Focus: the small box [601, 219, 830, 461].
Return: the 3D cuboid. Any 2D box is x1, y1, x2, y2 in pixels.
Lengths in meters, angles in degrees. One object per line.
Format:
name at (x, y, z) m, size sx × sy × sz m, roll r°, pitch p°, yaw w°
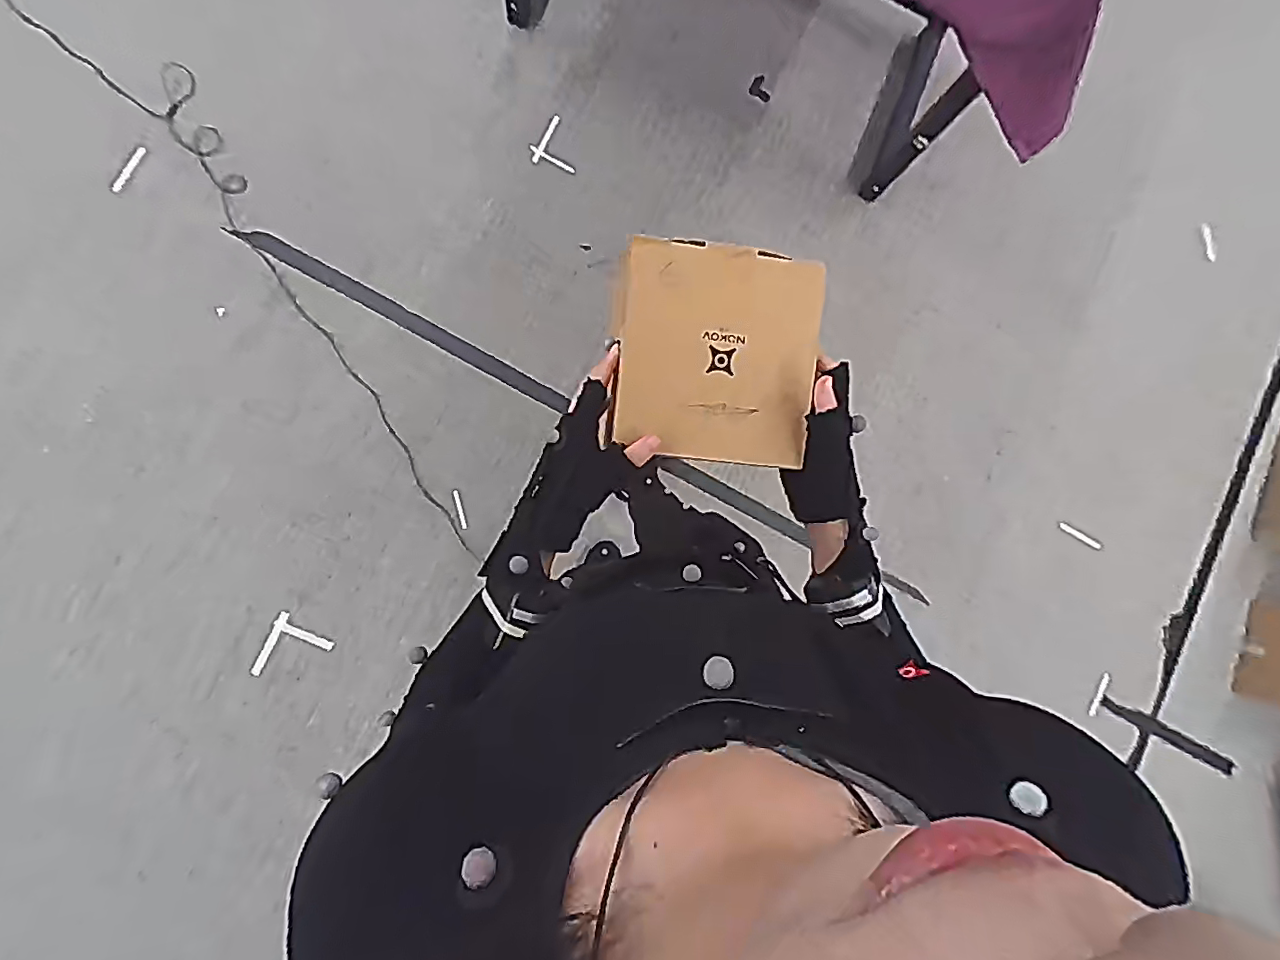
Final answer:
small box at (0.056, -0.116, 0.515) m, size 0.168 × 0.176 × 0.179 m, roll 6°, pitch 94°, yaw -9°
